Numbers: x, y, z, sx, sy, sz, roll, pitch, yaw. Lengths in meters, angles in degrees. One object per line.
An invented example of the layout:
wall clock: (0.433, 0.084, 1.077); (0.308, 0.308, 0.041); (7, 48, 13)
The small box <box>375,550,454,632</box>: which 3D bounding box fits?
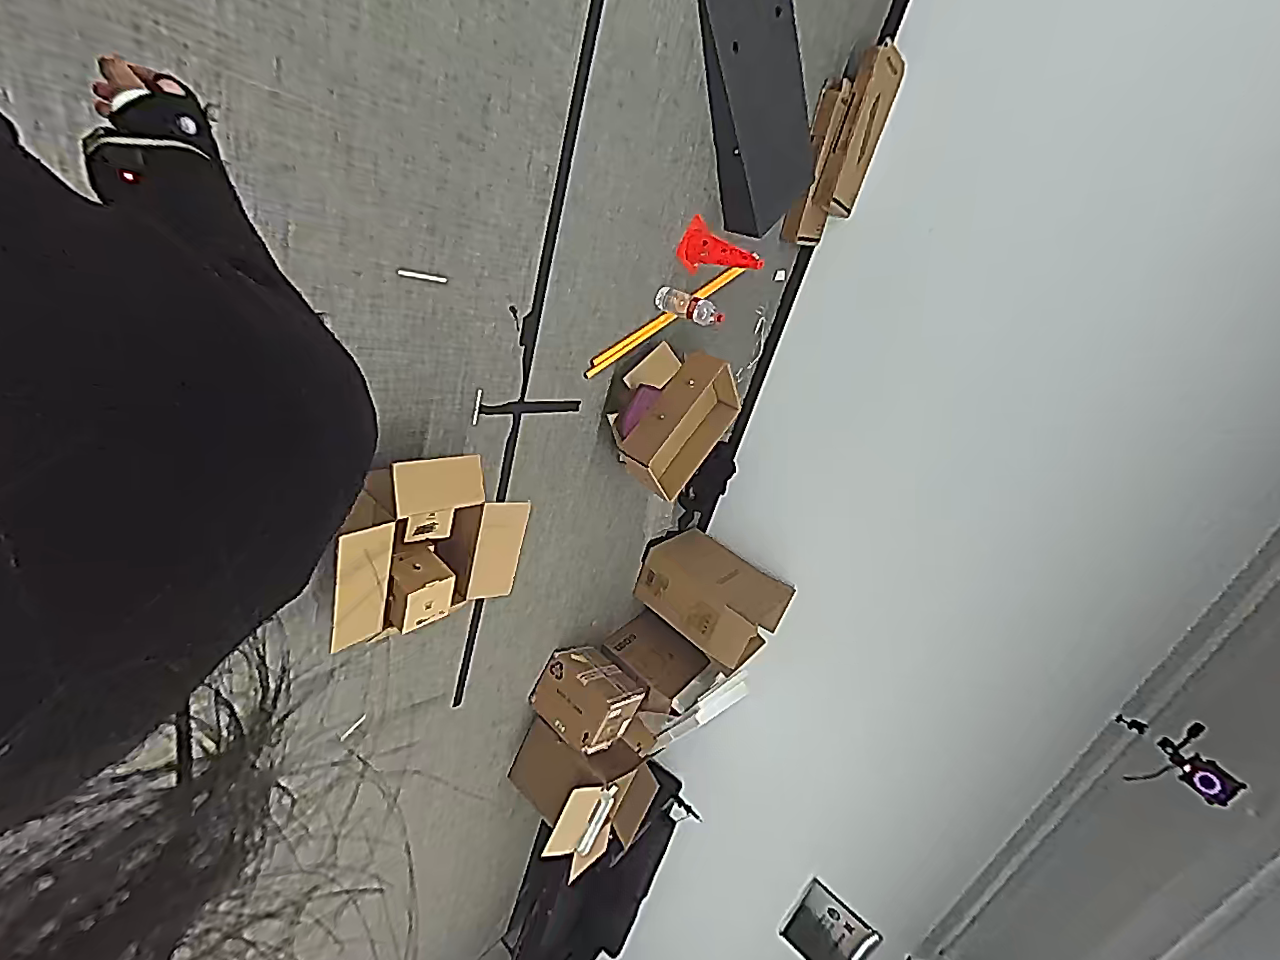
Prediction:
small box: (-0.726, 0.345, 1.732); (0.168, 0.176, 0.179); (-18, 134, -51)
